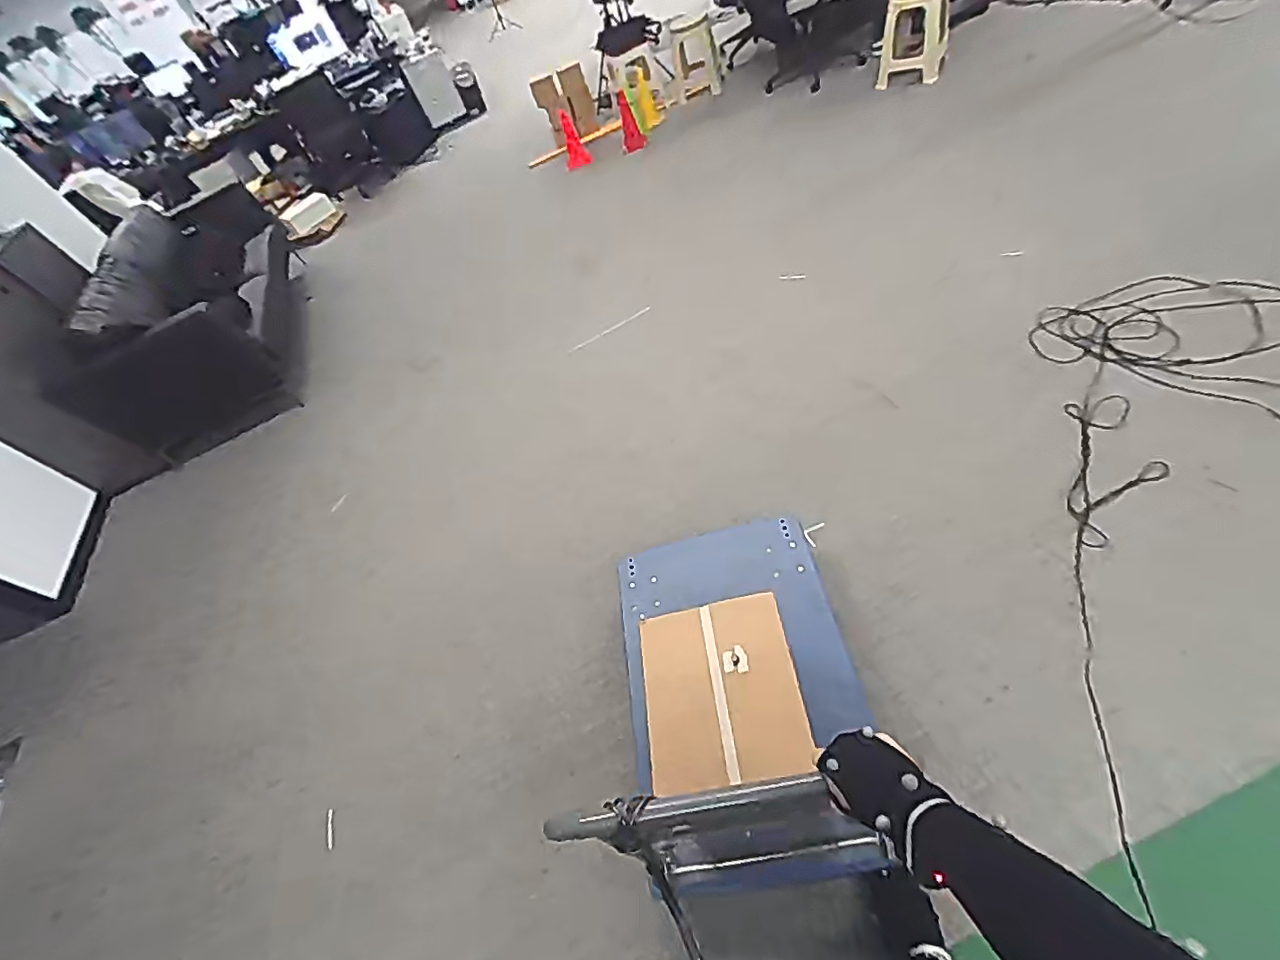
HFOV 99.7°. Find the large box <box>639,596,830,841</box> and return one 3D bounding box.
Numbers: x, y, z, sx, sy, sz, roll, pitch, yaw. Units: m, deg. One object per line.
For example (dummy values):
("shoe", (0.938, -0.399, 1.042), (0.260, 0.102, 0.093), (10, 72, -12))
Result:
("large box", (0.205, 0.535, 1.210), (0.320, 0.320, 0.408), (-15, 49, 10))
